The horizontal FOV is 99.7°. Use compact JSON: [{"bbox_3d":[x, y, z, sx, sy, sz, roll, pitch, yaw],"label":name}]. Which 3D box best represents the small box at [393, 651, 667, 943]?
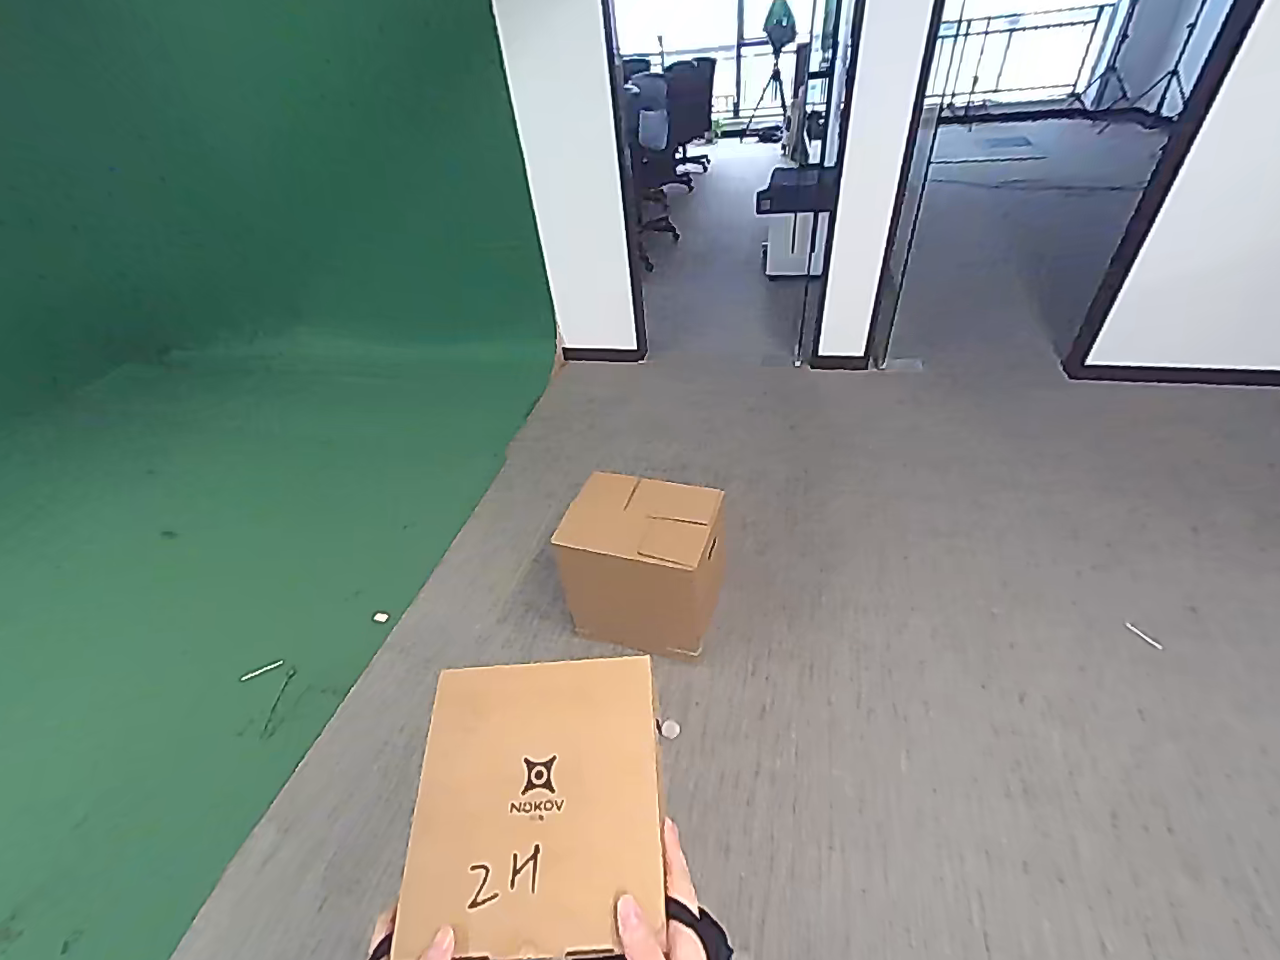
[{"bbox_3d":[-0.066,0.256,0.438,0.168,0.176,0.179,-4,52,3],"label":"small box"}]
